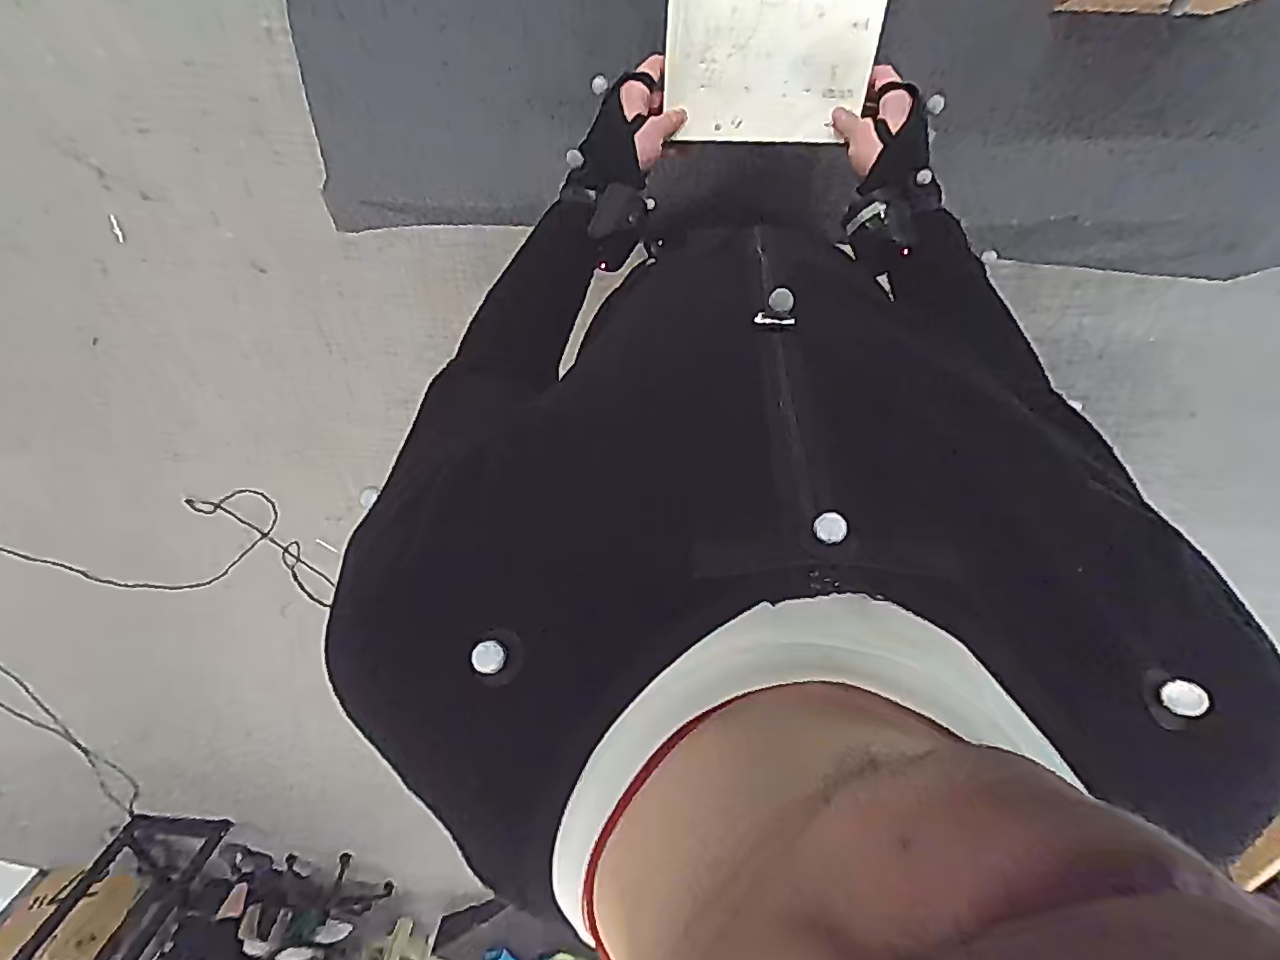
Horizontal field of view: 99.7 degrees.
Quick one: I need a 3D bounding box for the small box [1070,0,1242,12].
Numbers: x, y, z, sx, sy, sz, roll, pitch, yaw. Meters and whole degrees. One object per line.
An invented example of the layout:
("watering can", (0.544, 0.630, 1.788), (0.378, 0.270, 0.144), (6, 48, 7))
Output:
("small box", (0.505, -0.522, 0.455), (0.168, 0.176, 0.179), (3, 121, 3))
